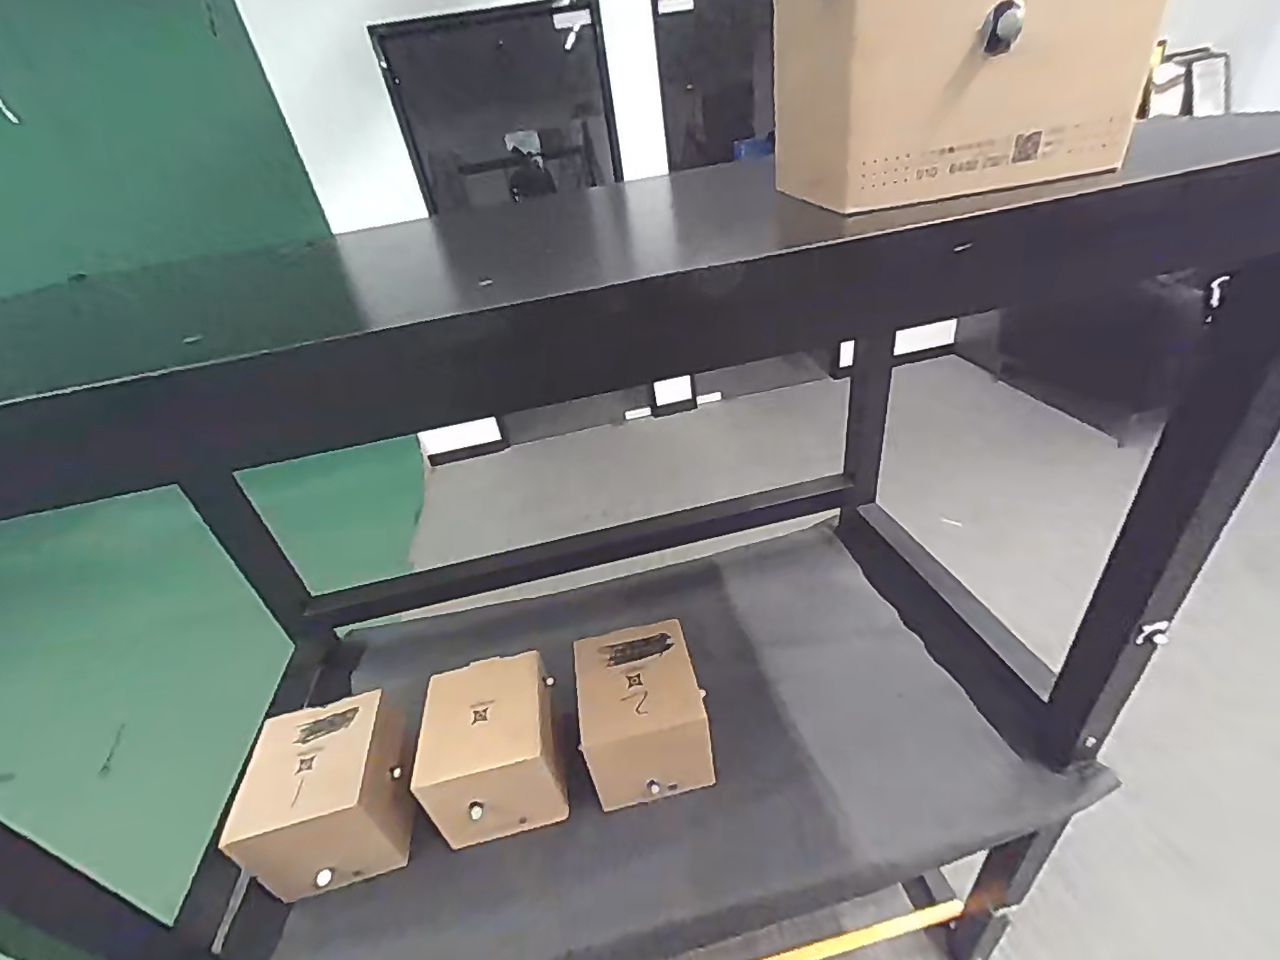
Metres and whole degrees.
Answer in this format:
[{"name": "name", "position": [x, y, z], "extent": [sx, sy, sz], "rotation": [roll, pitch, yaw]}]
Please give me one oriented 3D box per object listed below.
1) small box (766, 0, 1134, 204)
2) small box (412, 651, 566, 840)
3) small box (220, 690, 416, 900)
[{"name": "small box", "position": [0.185, -0.290, 0.357], "extent": [0.168, 0.176, 0.179], "rotation": [-8, 32, 3]}, {"name": "small box", "position": [-0.206, 0.387, 0.783], "extent": [0.168, 0.176, 0.179], "rotation": [-12, 31, -5]}, {"name": "small box", "position": [-0.426, 0.437, 0.759], "extent": [0.168, 0.176, 0.179], "rotation": [-14, 33, -6]}]
